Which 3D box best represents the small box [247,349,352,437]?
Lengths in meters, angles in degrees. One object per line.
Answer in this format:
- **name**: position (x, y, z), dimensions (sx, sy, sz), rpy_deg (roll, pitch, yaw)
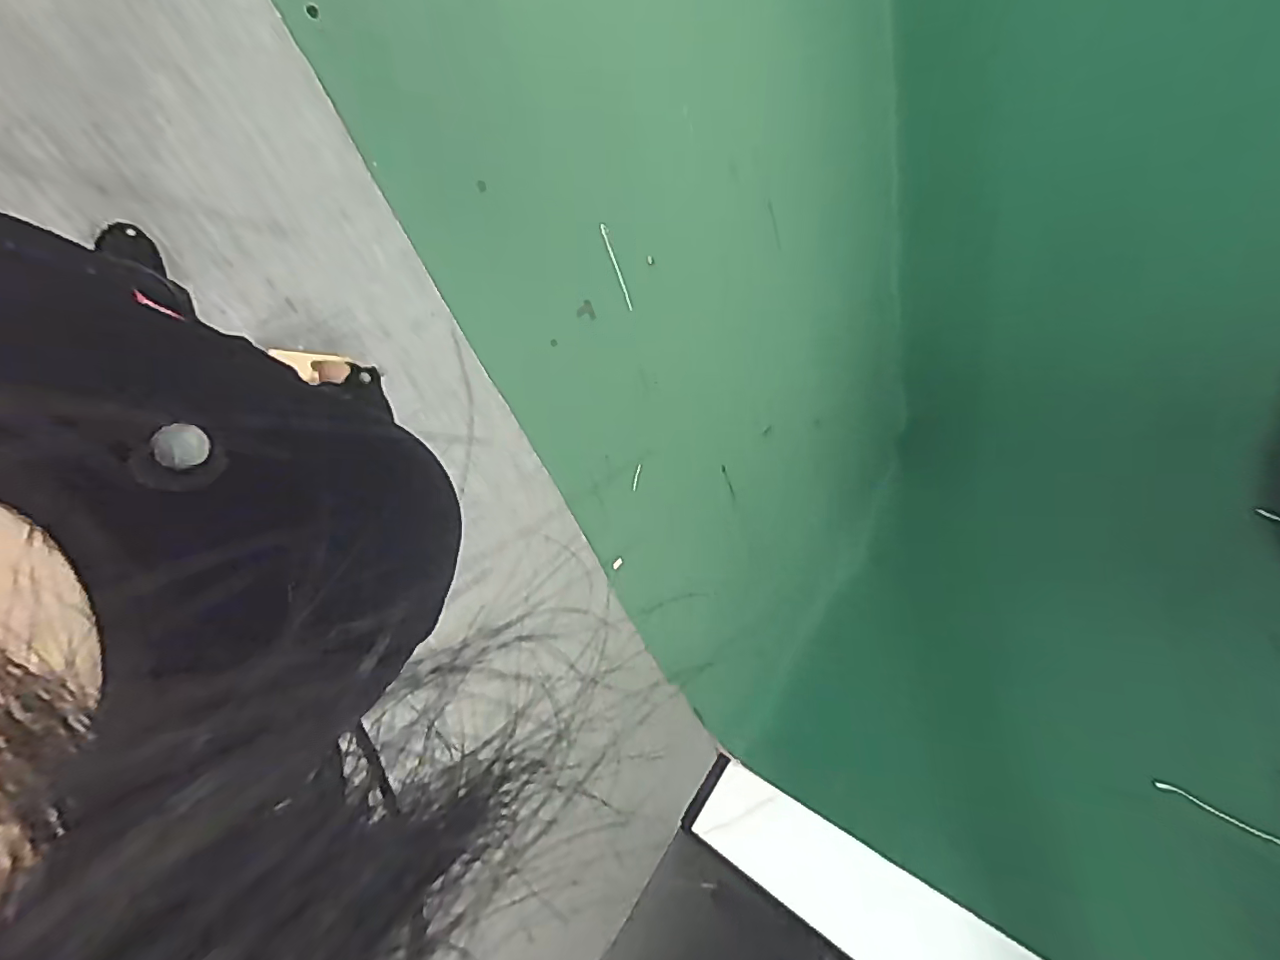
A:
- **small box**: position (-0.784, -0.200, 1.243), dimensions (0.168, 0.176, 0.179), rpy_deg (-3, 104, -47)
